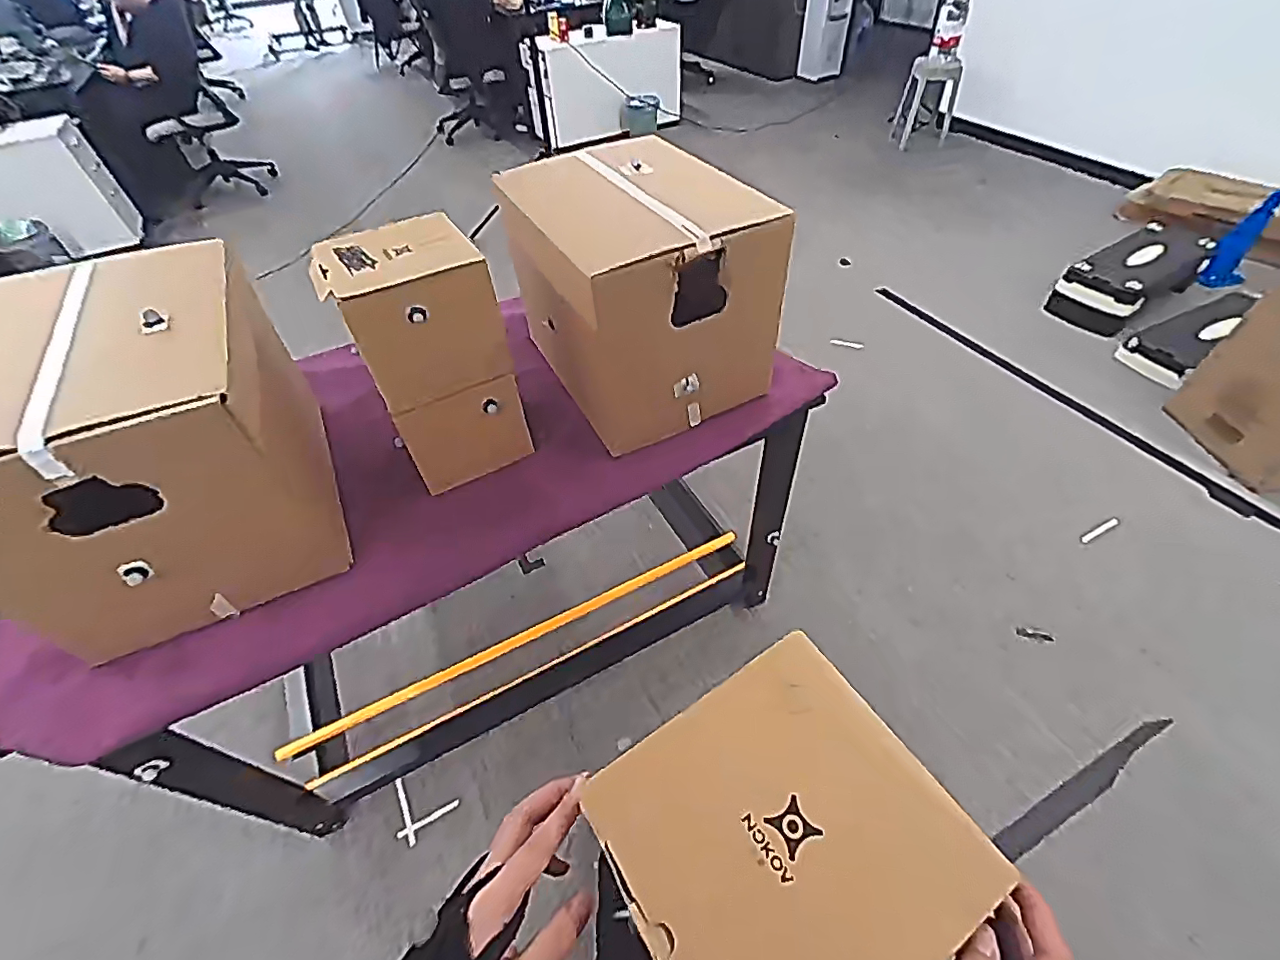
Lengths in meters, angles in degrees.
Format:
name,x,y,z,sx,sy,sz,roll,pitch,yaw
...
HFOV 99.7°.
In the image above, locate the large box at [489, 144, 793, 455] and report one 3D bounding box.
name,x,y,z,sx,sy,sz,roll,pitch,yaw
large box,-0.008,-0.313,0.908,0.320,0.320,0.408,-23,50,-17
